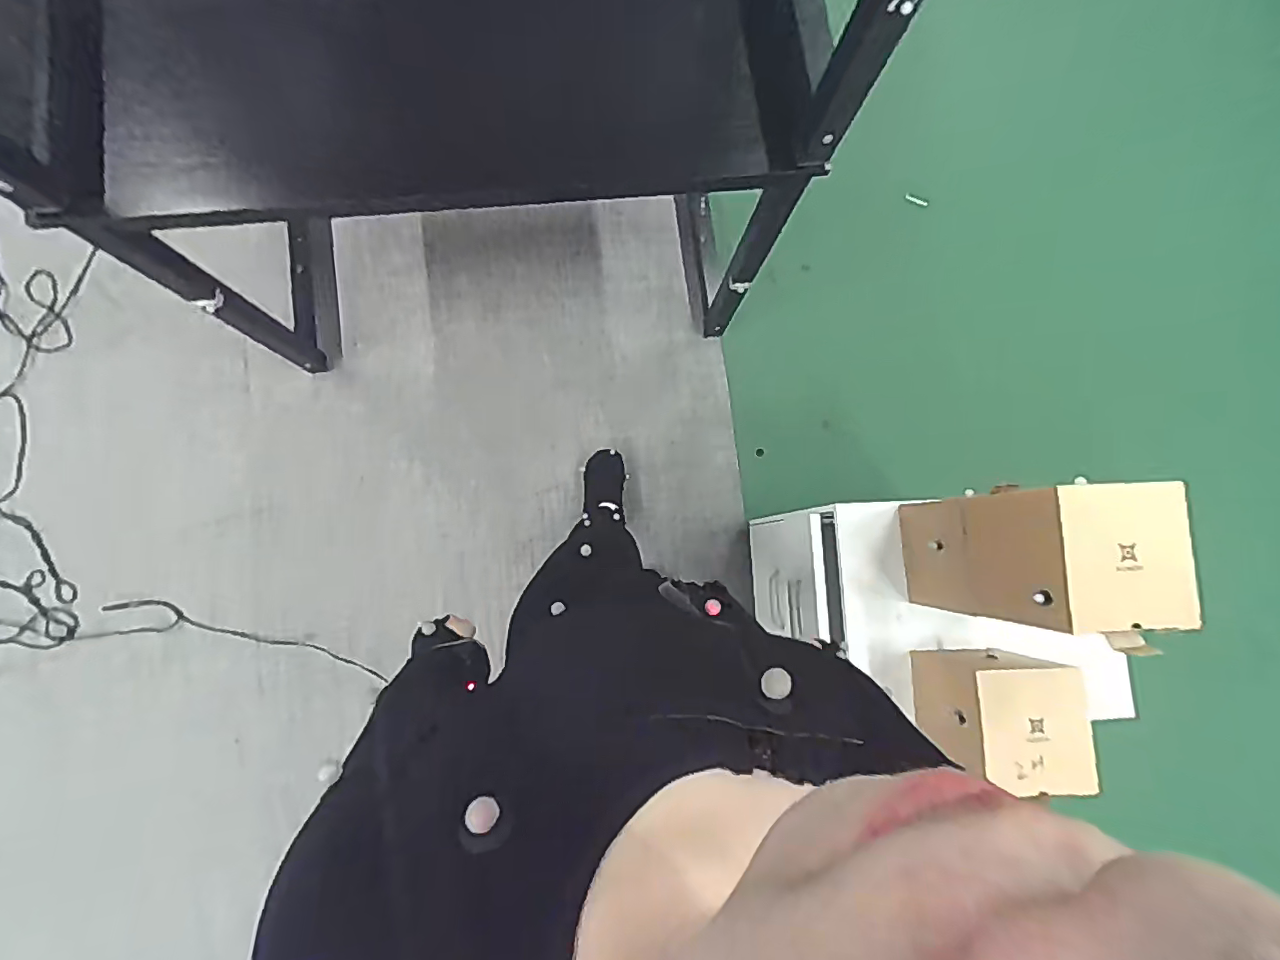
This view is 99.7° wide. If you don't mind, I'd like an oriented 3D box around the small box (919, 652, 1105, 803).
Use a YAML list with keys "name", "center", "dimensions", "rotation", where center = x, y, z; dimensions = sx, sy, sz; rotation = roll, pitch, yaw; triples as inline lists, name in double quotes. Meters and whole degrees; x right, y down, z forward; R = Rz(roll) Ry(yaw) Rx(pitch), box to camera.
- name: "small box"
  center: [0.551, 0.364, 0.827]
  dimensions: [0.168, 0.176, 0.179]
  rotation: [0, 83, -3]

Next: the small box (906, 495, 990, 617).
- name: "small box"
  center: [0.548, 0.116, 0.860]
  dimensions: [0.168, 0.176, 0.179]
  rotation: [-3, 84, -4]

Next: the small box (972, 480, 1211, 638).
- name: "small box"
  center: [0.562, 0.097, 0.698]
  dimensions: [0.168, 0.176, 0.179]
  rotation: [-2, 85, -5]
